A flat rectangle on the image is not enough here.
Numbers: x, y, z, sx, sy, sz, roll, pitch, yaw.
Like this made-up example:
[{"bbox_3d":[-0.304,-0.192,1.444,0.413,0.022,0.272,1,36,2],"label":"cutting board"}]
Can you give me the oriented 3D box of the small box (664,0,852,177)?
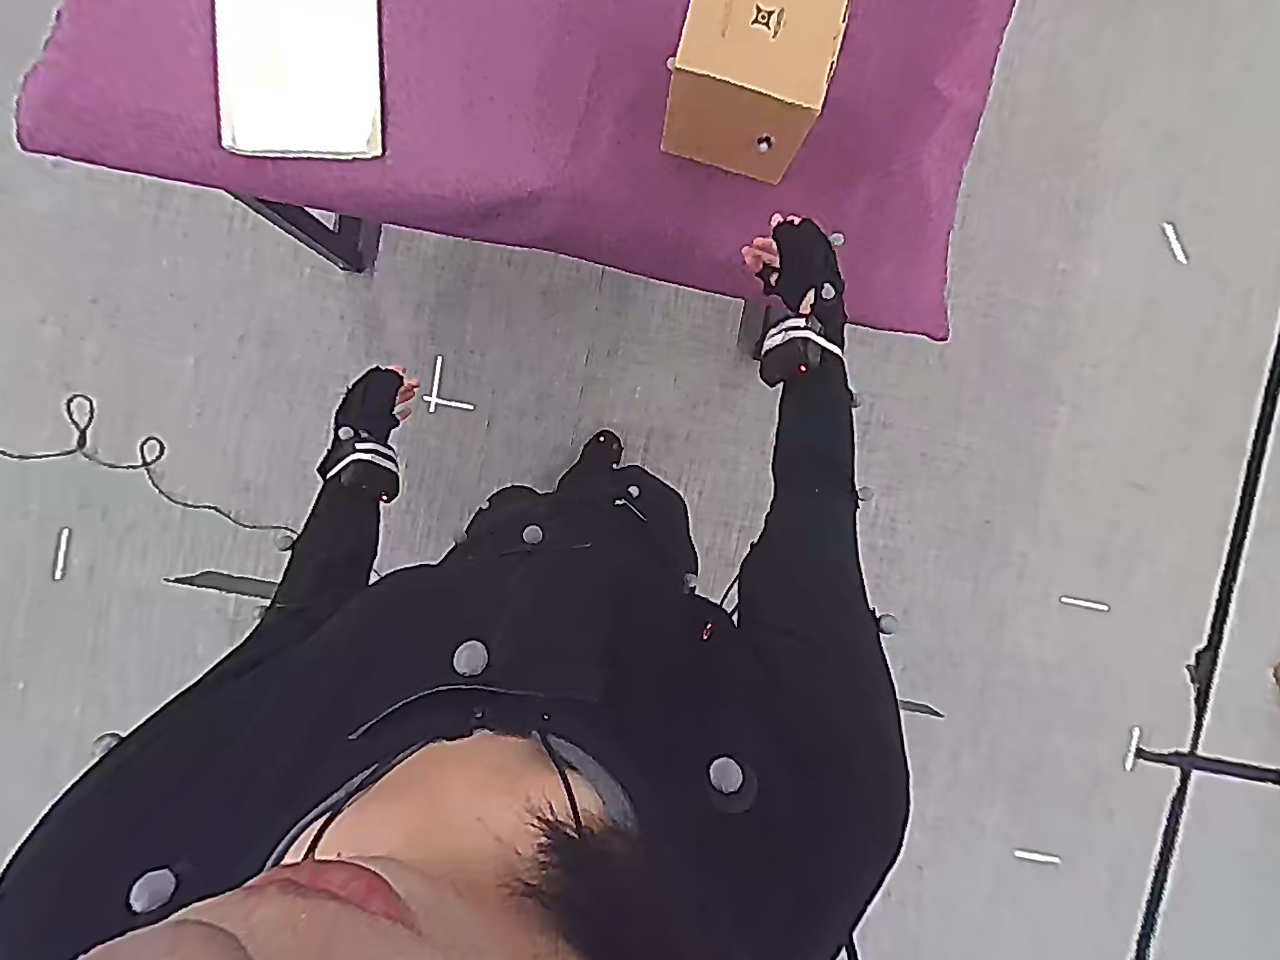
[{"bbox_3d":[0.137,-0.515,0.678,0.179,0.176,0.168,14,90,-3],"label":"small box"}]
